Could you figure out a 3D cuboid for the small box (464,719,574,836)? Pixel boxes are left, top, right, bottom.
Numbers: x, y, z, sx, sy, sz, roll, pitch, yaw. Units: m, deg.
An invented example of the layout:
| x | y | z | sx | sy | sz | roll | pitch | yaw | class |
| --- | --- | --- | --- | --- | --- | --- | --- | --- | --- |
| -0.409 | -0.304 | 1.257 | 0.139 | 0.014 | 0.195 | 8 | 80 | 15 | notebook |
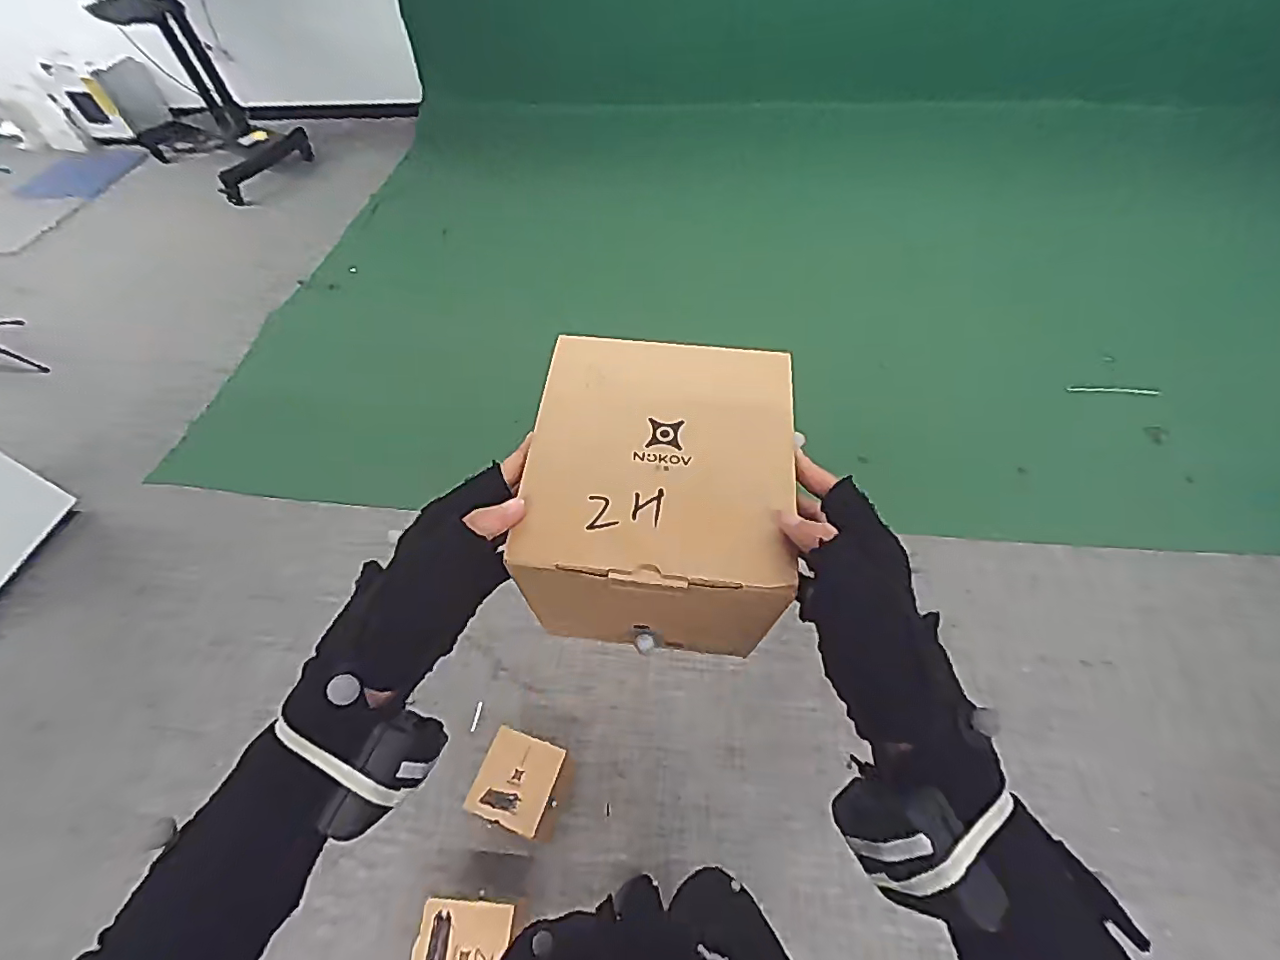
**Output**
| x | y | z | sx | sy | sz | roll | pitch | yaw | class |
| --- | --- | --- | --- | --- | --- | --- | --- | --- | --- |
| -0.260 | 0.673 | 1.216 | 0.168 | 0.176 | 0.179 | 15 | 55 | 13 | small box |
